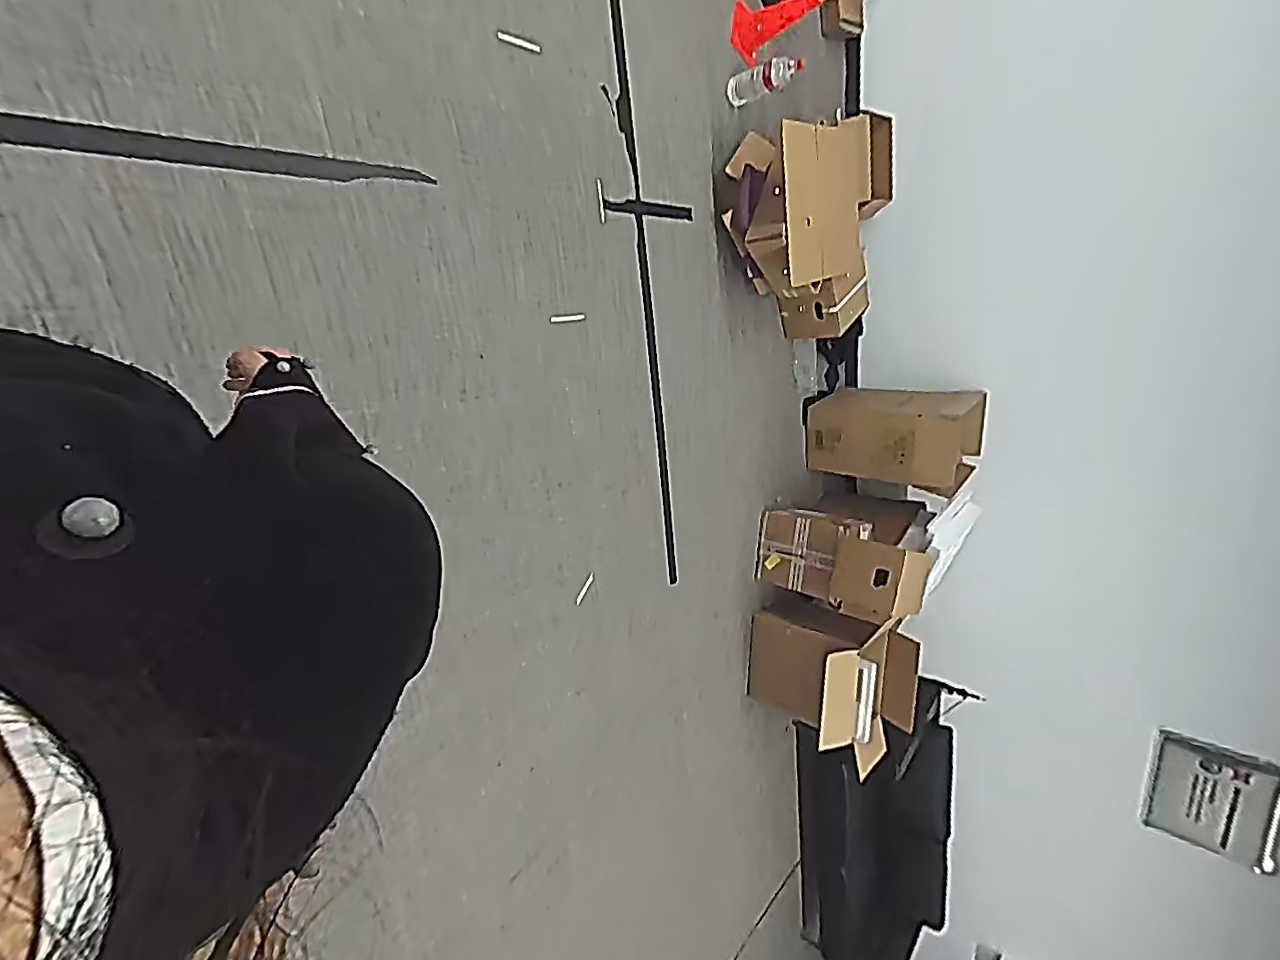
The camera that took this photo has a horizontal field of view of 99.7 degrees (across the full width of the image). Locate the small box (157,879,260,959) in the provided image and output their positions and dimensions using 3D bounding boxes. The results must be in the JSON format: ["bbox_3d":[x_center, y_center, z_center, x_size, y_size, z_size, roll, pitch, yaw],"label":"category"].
[{"bbox_3d":[-0.992,1.087,1.263,0.168,0.176,0.179,-21,112,-44],"label":"small box"}]

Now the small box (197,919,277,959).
[{"bbox_3d":[-0.871,1.111,1.151,0.179,0.176,0.168,-22,114,-44],"label":"small box"}]
